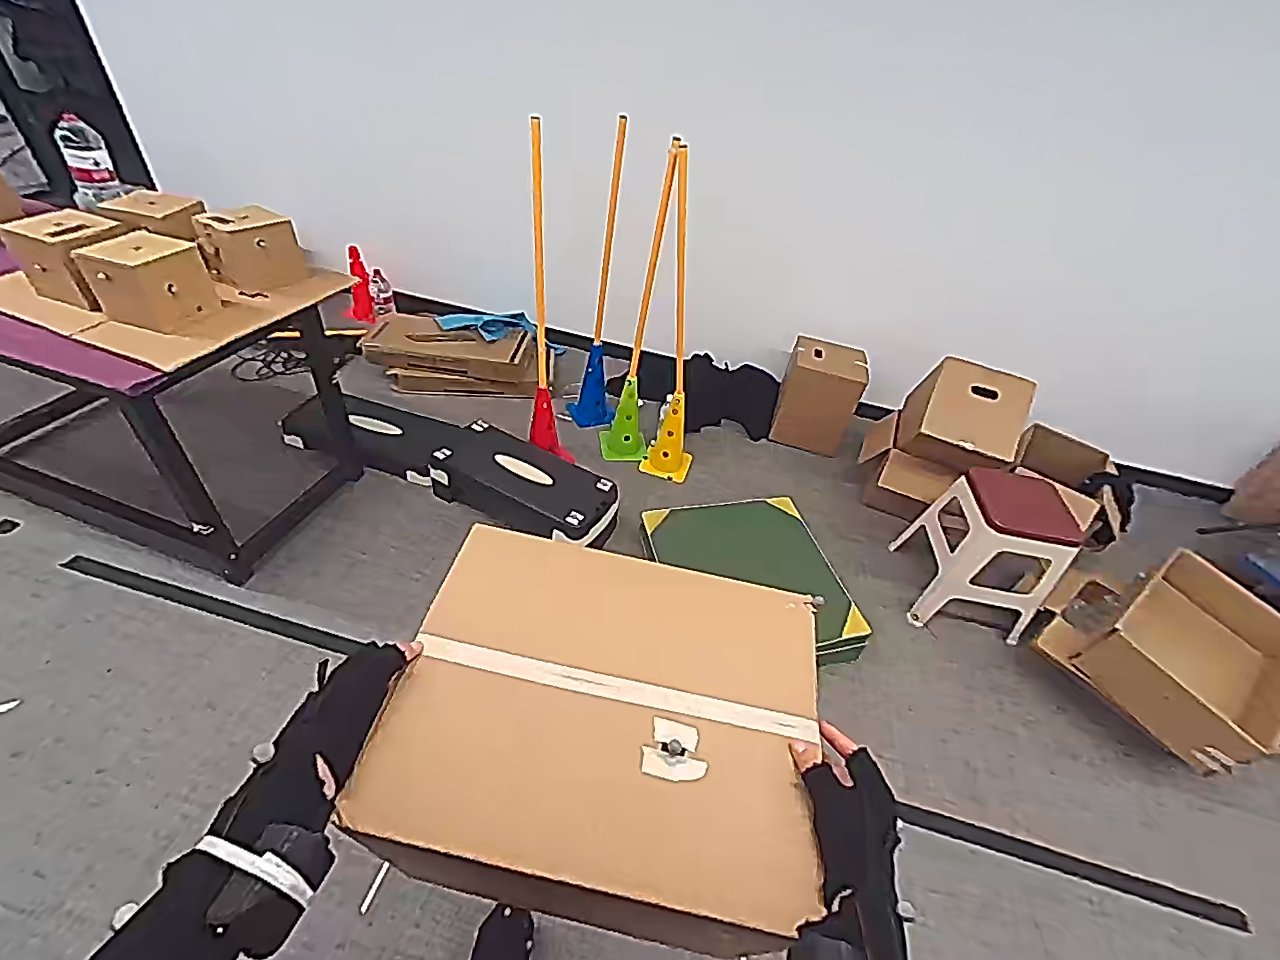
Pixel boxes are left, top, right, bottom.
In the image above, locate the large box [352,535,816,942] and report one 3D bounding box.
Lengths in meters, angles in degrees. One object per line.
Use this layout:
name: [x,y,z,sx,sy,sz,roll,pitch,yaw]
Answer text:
large box: [-0.044,0.313,0.655,0.408,0.320,0.320,12,48,2]
